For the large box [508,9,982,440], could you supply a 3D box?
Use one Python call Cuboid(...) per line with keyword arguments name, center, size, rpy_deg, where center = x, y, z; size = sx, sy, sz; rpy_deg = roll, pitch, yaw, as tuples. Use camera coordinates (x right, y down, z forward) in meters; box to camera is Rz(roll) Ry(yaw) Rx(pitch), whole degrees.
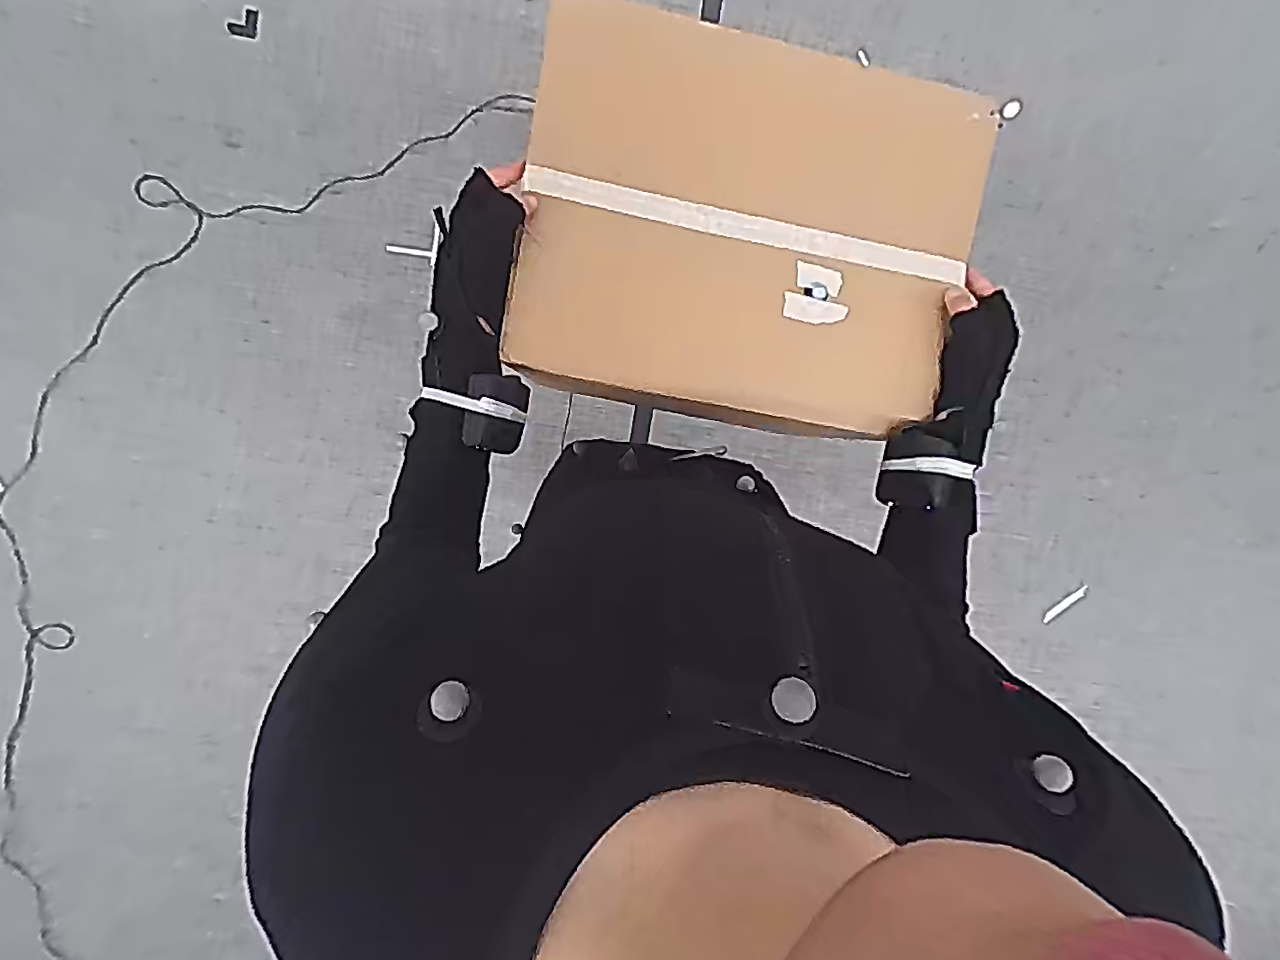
Cuboid(name="large box", center=(0.083, -0.236, 0.639), size=(0.408, 0.320, 0.320), rpy_deg=(10, 96, -7))
